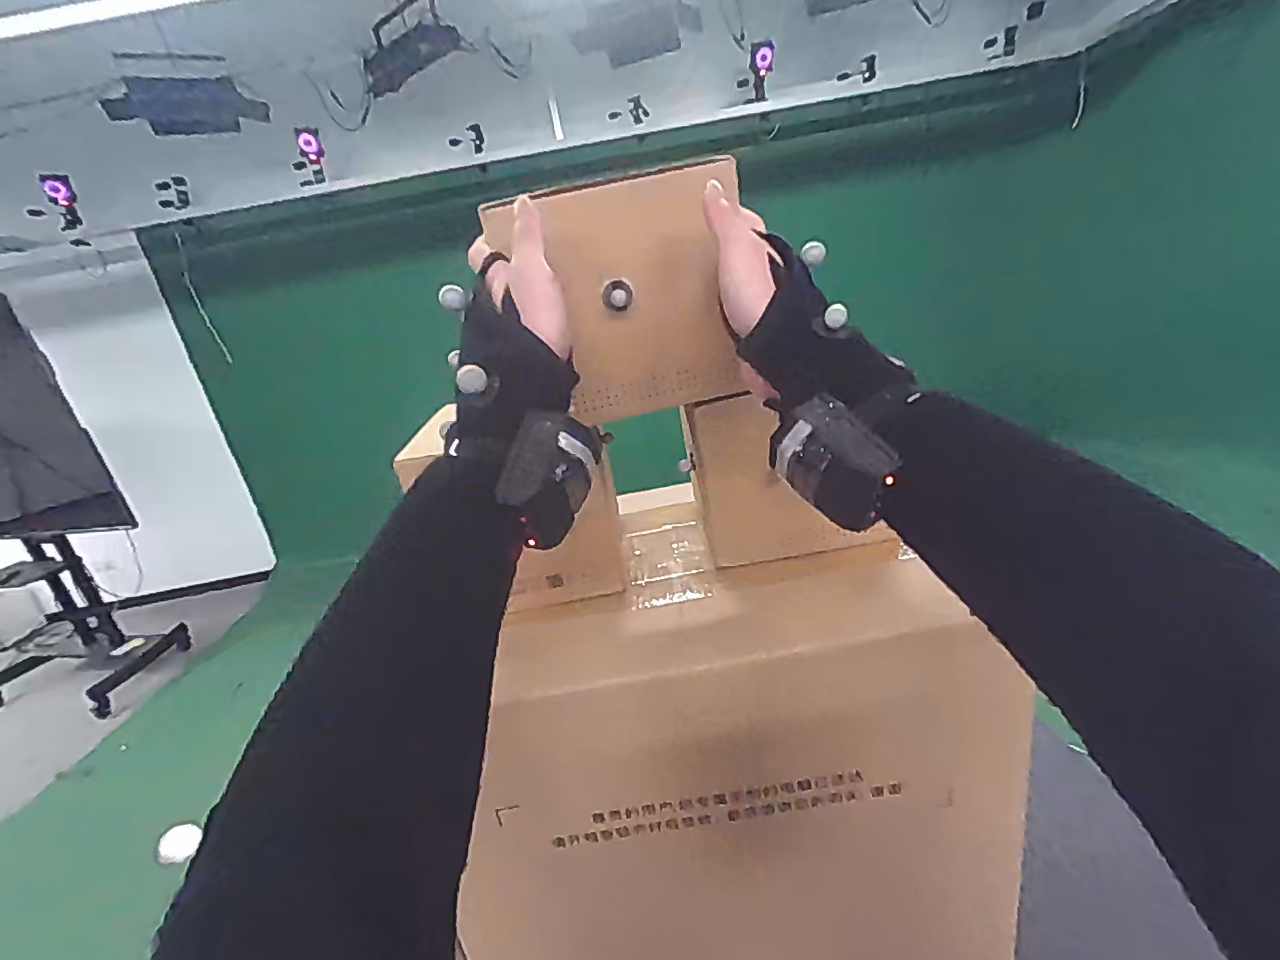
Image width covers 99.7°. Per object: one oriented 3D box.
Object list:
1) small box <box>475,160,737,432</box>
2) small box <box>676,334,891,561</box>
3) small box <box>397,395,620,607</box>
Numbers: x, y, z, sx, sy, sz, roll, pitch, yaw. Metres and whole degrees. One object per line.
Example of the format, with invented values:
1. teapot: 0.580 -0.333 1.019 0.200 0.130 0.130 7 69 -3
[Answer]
1. small box: -0.021 -0.160 0.462 0.179 0.176 0.168 -13 29 -3
2. small box: 0.137 -0.036 0.548 0.179 0.176 0.168 -11 25 2
3. small box: -0.115 0.014 0.552 0.168 0.176 0.179 -9 22 -1
